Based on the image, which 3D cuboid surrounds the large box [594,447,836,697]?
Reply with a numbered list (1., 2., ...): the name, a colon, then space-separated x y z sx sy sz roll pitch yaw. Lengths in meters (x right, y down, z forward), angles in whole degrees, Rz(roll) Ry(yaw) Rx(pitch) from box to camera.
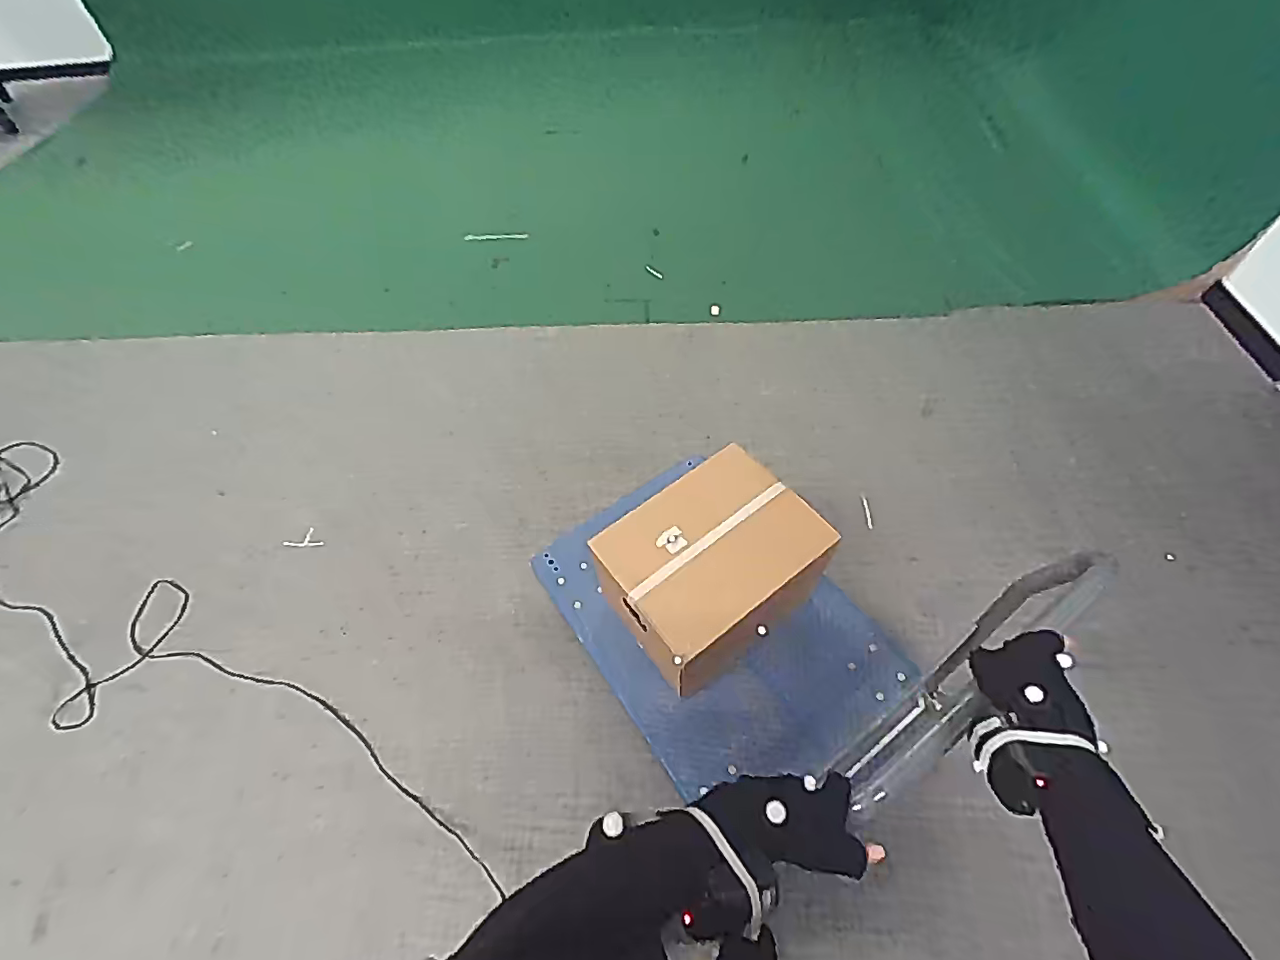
1. large box: 0.161 0.208 1.214 0.408 0.320 0.320 -34 60 -16
